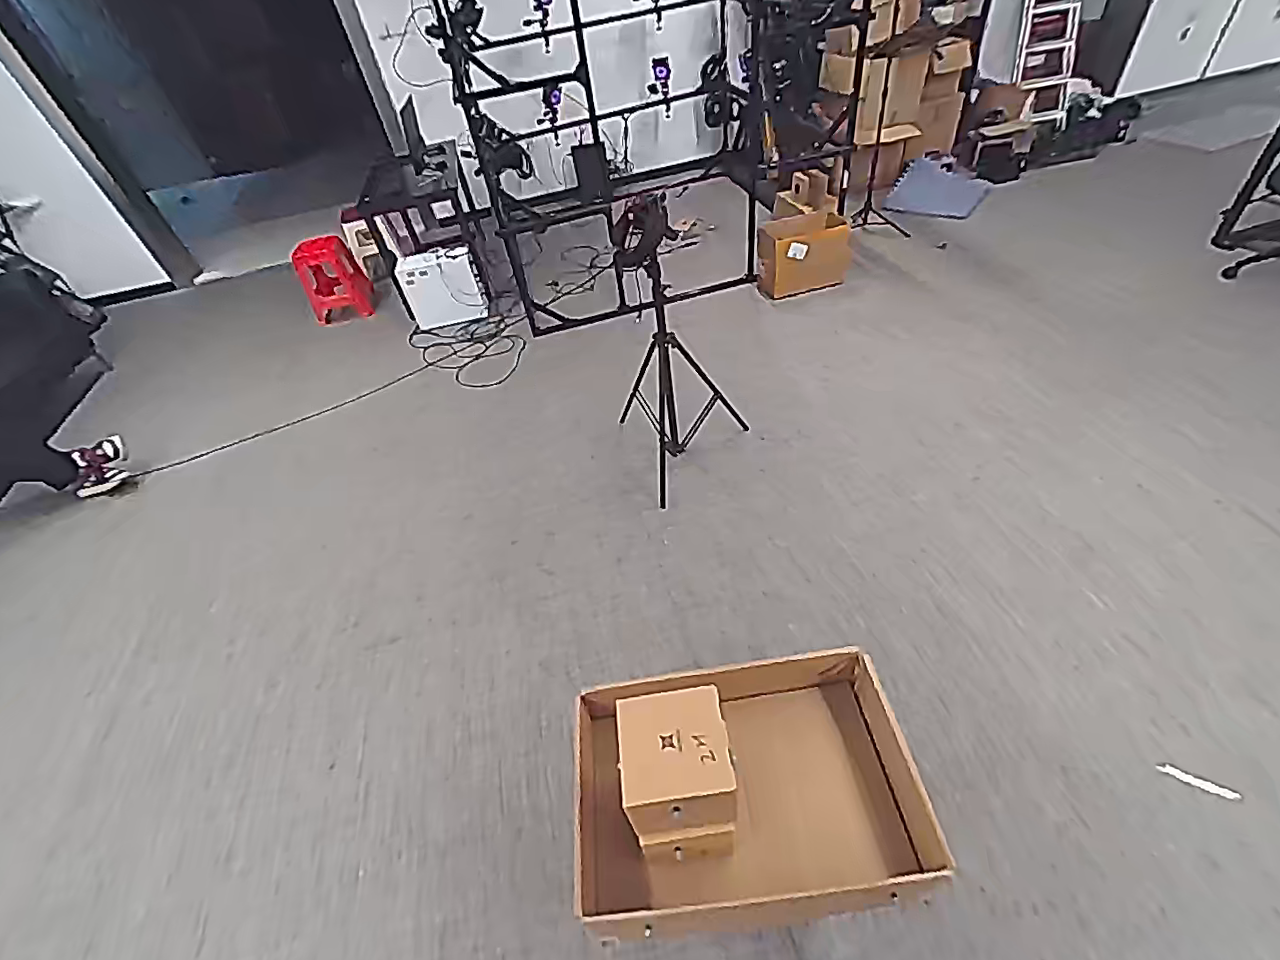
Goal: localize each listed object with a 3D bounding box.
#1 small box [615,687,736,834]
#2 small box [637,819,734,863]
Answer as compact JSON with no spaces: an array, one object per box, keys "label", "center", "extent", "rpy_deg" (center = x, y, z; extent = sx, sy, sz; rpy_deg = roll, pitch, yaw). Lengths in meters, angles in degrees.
[{"label":"small box","center":[0.060,0.474,0.908],"extent":[0.179,0.176,0.168],"rpy_deg":[-9,44,1]},{"label":"small box","center":[0.079,0.597,1.016],"extent":[0.168,0.176,0.179],"rpy_deg":[-10,43,0]}]
